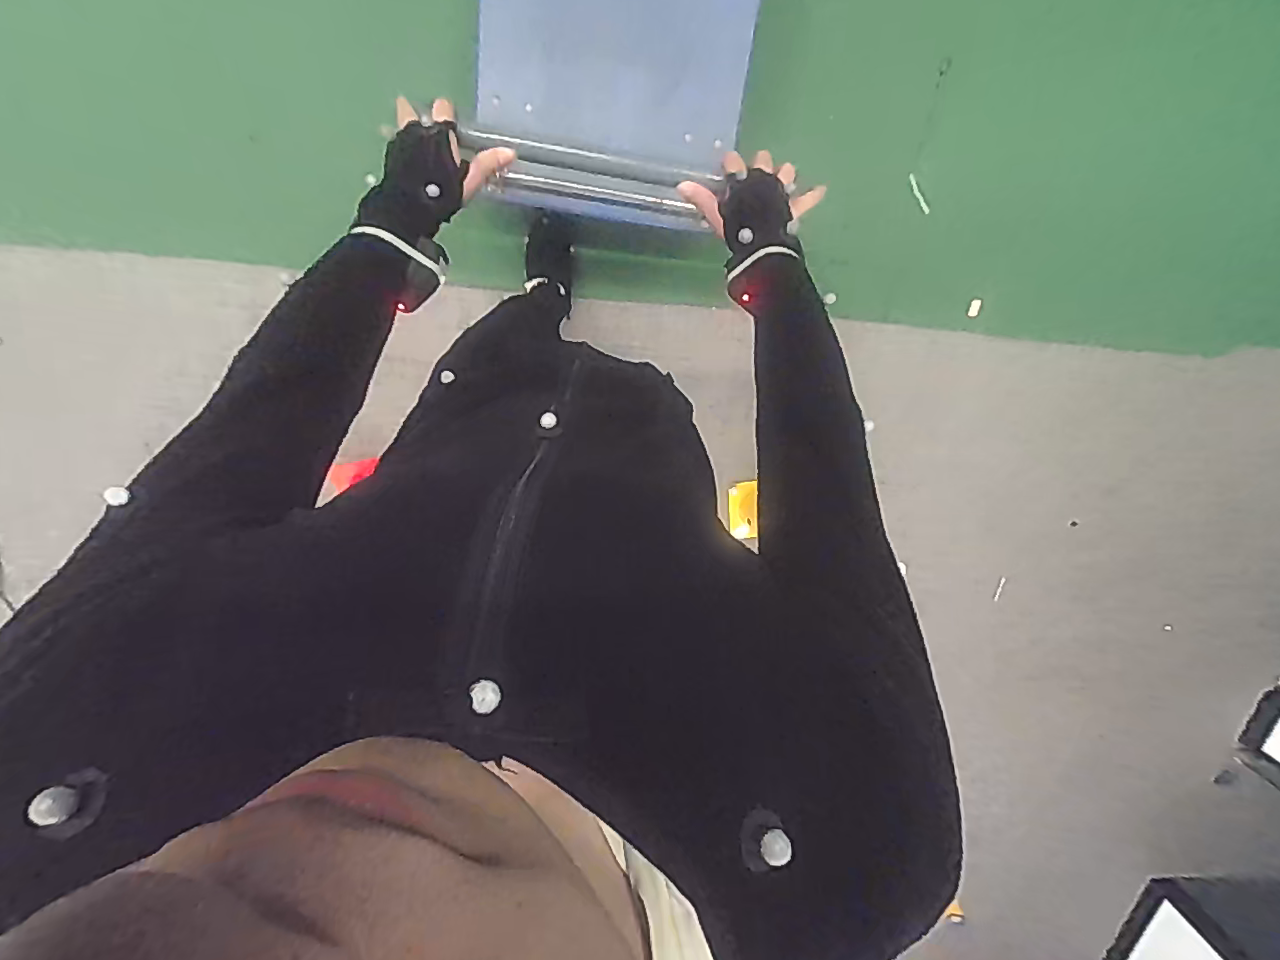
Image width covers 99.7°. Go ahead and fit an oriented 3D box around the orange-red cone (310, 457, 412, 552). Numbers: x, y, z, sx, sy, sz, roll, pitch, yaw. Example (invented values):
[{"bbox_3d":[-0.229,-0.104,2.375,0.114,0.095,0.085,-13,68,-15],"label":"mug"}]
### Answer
[{"bbox_3d":[-0.779,0.094,1.442,0.199,0.360,0.198,-10,111,-1],"label":"orange-red cone"}]
